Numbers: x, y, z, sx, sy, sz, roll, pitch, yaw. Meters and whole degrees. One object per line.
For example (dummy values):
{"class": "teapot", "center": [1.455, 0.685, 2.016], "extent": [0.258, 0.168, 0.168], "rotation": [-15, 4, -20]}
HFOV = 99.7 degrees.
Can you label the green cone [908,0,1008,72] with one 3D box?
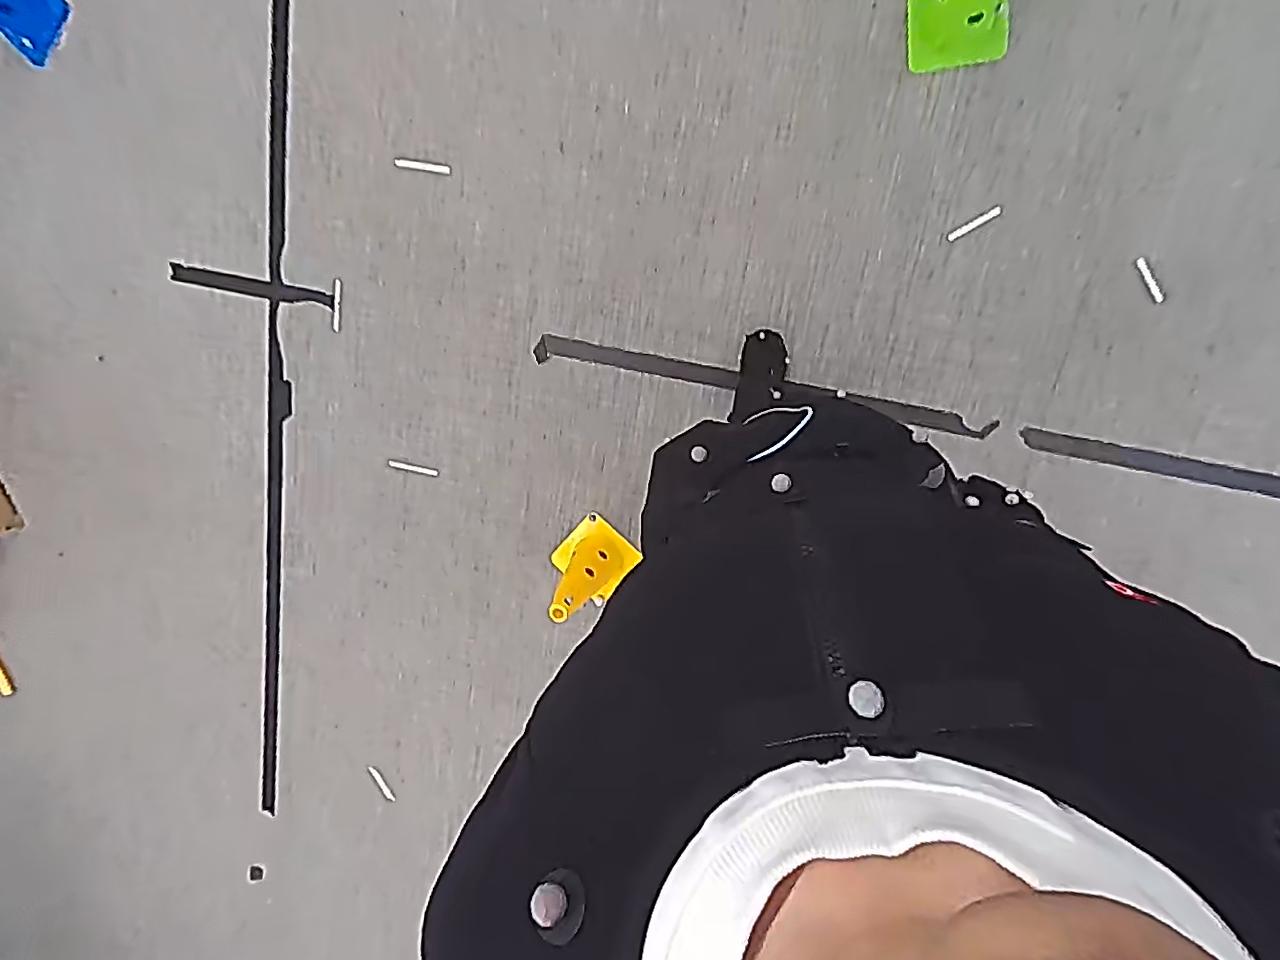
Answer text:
{"class": "green cone", "center": [0.657, -0.965, 0.992], "extent": [0.202, 0.368, 0.200], "rotation": [-4, 100, 9]}
